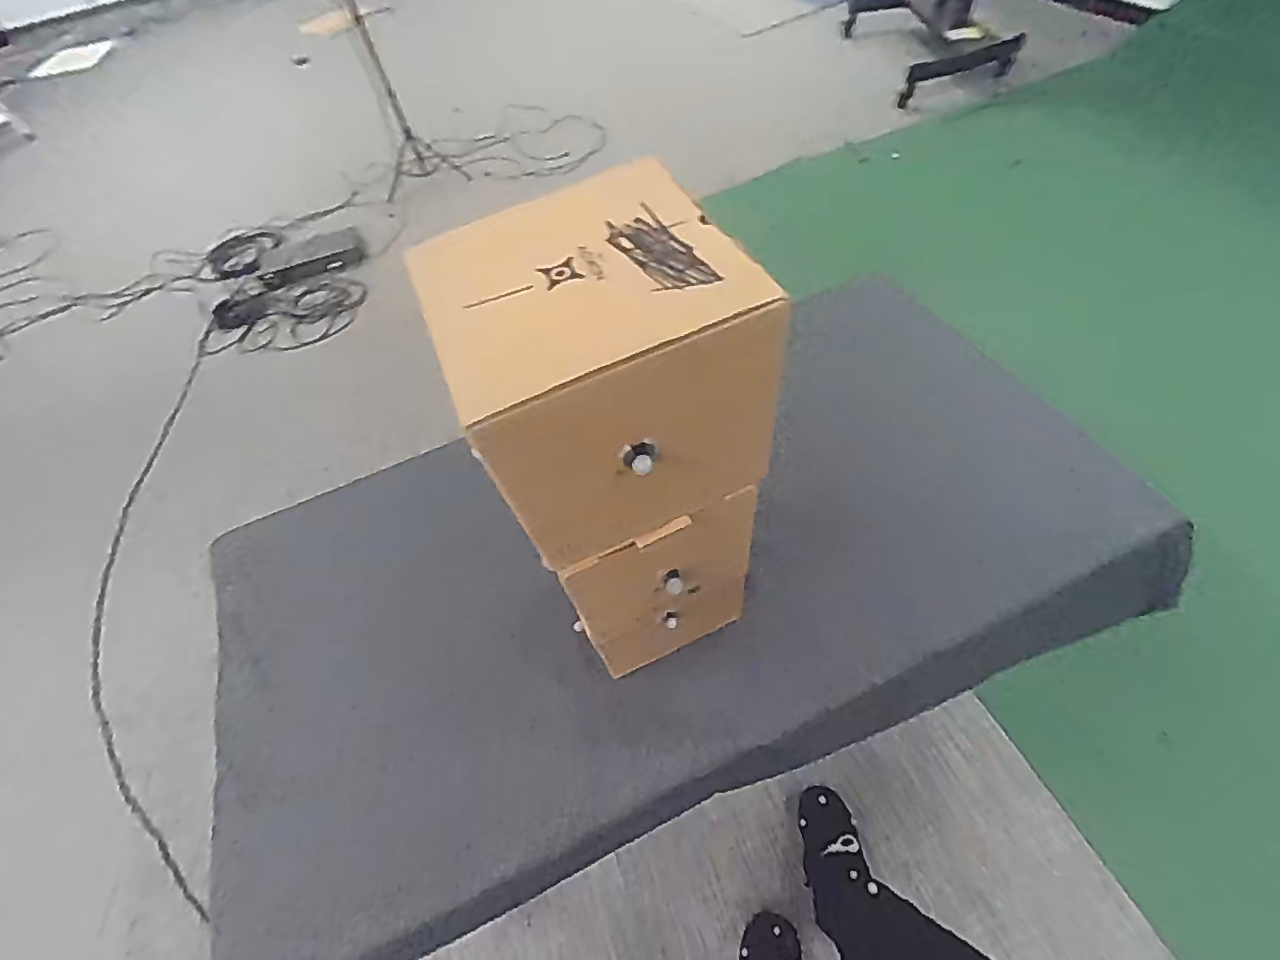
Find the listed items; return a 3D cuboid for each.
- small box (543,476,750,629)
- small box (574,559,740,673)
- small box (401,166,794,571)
[{"bbox_3d":[-0.014,0.020,0.505,0.168,0.176,0.179,-25,58,-8],"label":"small box"},{"bbox_3d":[0.003,0.105,0.643,0.179,0.176,0.168,-24,58,-9],"label":"small box"},{"bbox_3d":[-0.026,-0.069,0.366,0.179,0.176,0.168,-26,58,-10],"label":"small box"}]
